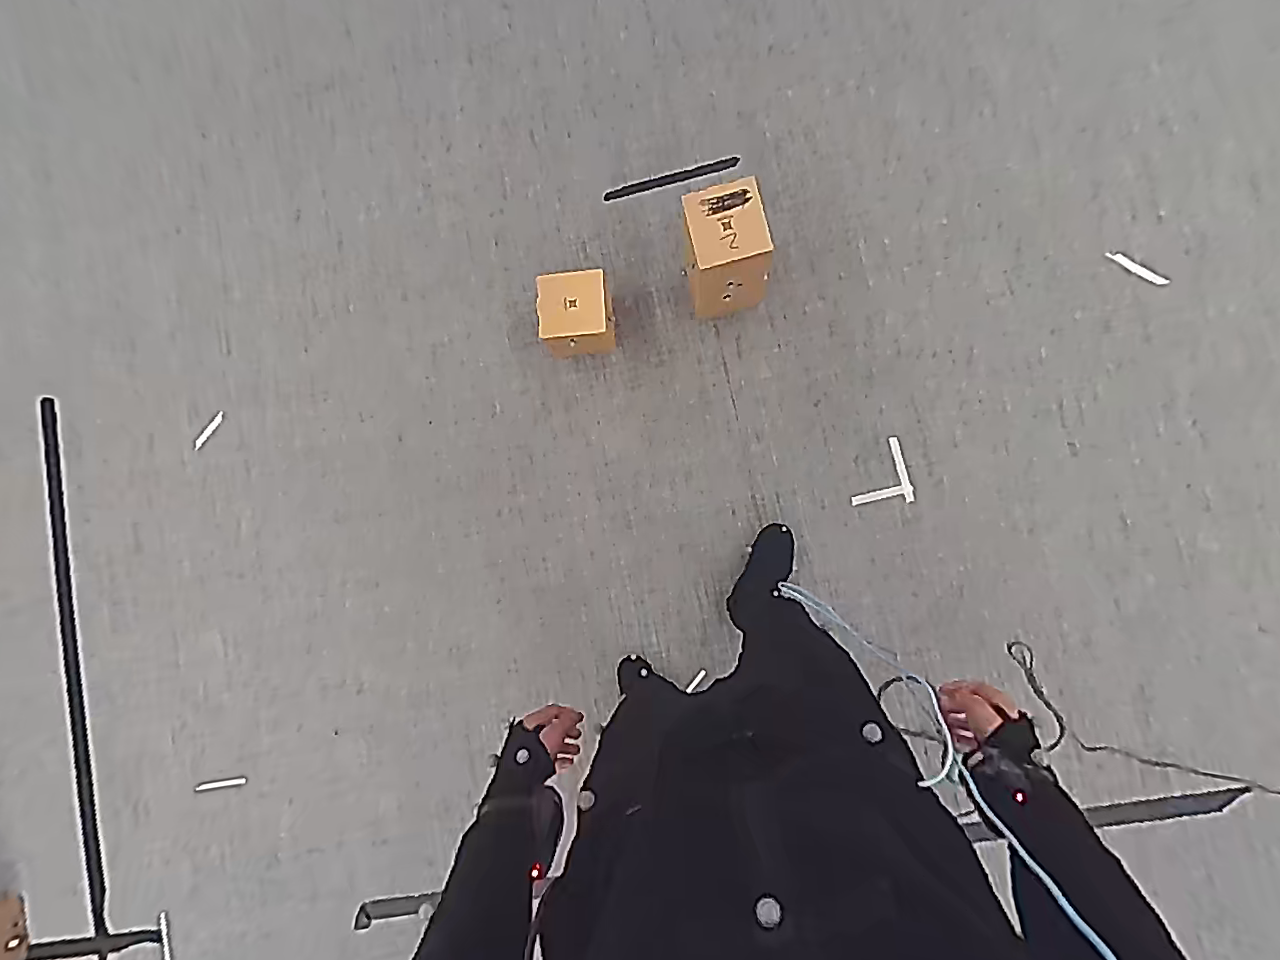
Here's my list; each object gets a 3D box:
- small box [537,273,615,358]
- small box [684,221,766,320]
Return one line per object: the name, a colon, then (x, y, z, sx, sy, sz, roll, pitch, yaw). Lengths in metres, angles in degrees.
small box: (-0.164, -0.435, 1.447, 0.179, 0.176, 0.168, -4, 86, 6)
small box: (0.217, -0.538, 1.414, 0.179, 0.176, 0.168, -13, 85, 4)
